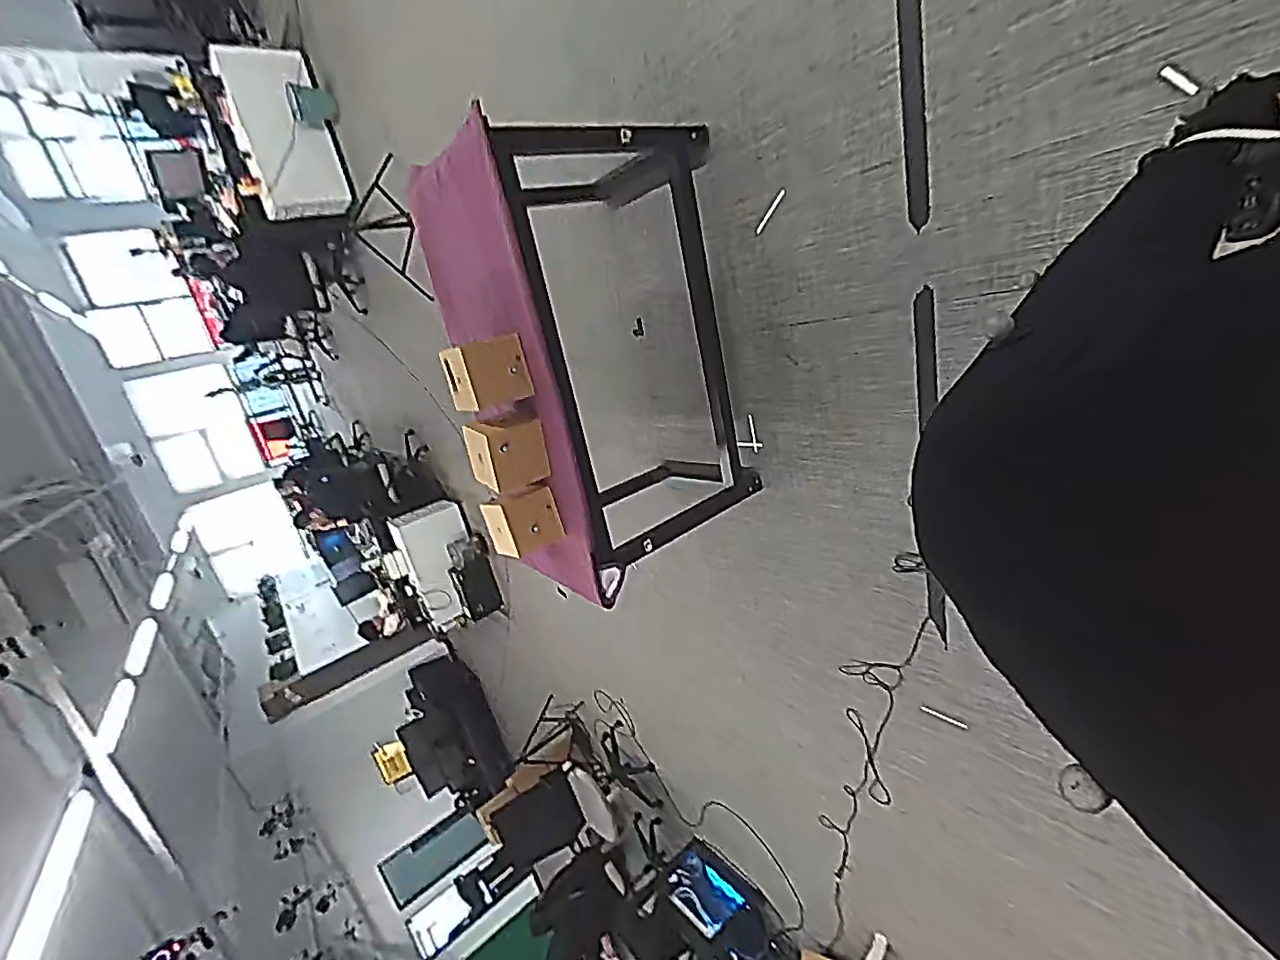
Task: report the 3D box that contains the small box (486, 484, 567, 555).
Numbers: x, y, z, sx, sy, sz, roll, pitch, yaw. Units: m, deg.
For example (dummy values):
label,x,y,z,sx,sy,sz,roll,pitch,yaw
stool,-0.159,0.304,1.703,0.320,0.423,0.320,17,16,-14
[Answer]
label,x,y,z,sx,sy,sz,roll,pitch,yaw
small box,-0.339,0.115,1.649,0.179,0.176,0.168,-2,108,55
